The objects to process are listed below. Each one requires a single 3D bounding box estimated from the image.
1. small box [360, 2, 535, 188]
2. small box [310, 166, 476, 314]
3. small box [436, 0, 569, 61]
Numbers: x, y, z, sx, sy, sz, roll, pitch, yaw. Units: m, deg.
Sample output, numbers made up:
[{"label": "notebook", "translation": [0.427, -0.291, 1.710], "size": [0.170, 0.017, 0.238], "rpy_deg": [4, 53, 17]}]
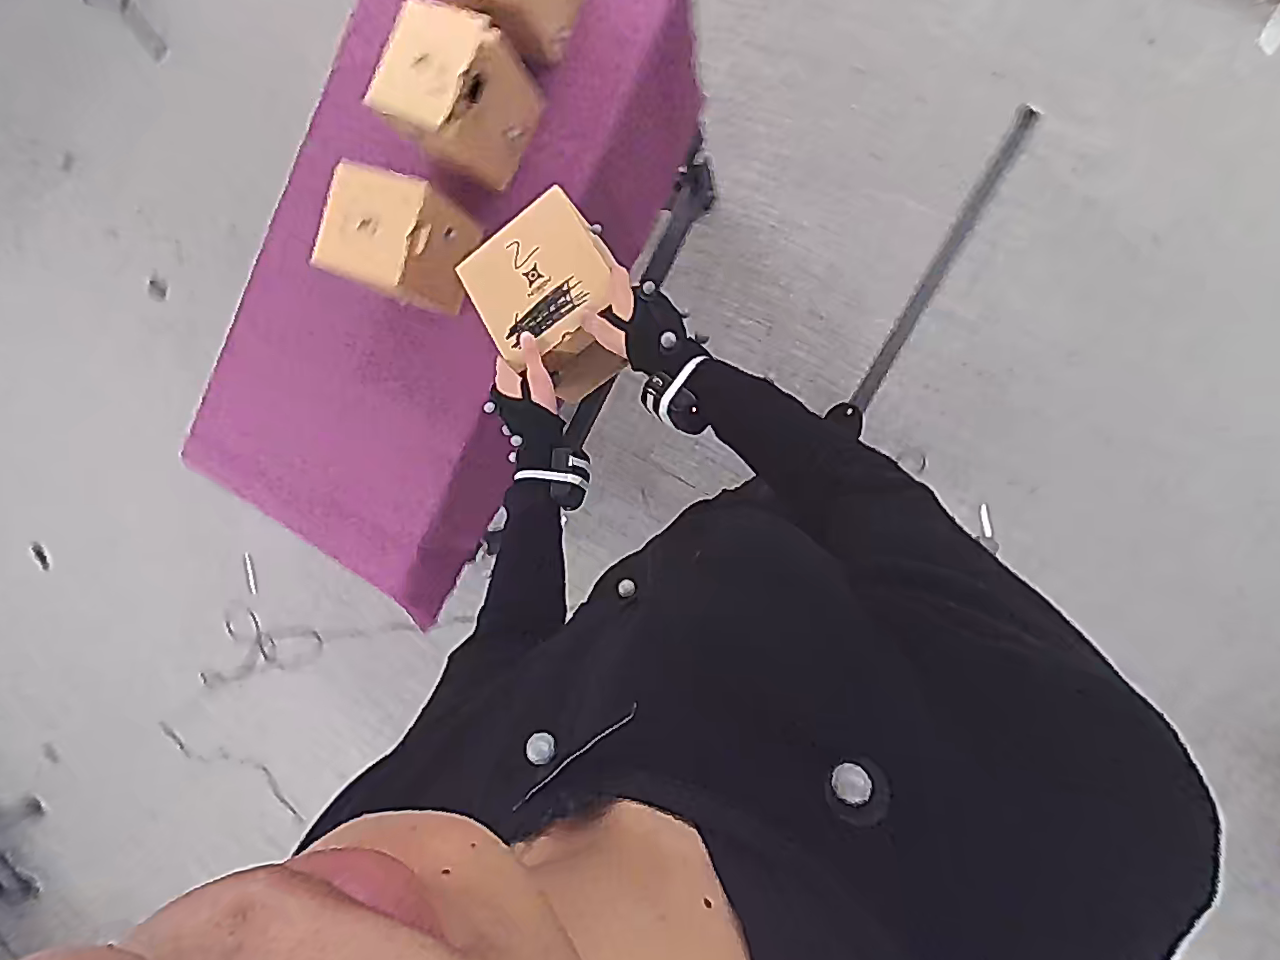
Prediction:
[{"label": "small box", "translation": [-0.308, -0.620, 0.893], "size": [0.179, 0.176, 0.168], "rpy_deg": [29, 99, 12]}, {"label": "small box", "translation": [-0.412, -0.398, 0.927], "size": [0.179, 0.176, 0.168], "rpy_deg": [19, 95, 14]}, {"label": "small box", "translation": [-0.223, -0.821, 0.867], "size": [0.179, 0.176, 0.168], "rpy_deg": [23, 97, 14]}]
